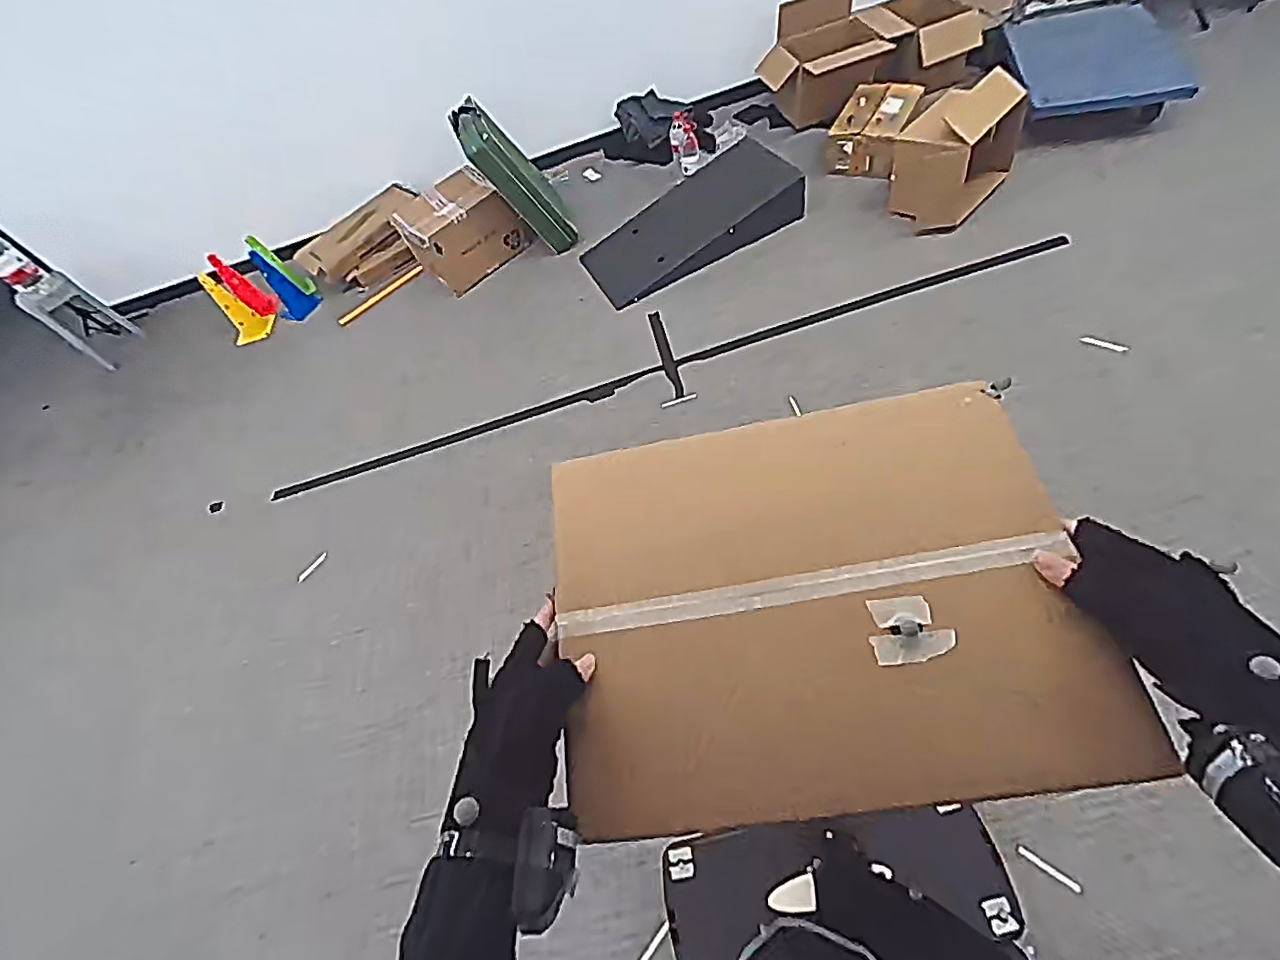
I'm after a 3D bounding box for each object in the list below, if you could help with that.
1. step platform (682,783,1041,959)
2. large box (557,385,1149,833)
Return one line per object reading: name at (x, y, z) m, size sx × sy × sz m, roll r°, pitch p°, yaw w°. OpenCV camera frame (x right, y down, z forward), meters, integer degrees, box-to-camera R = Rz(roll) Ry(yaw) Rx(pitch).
step platform at (0.436, 0.844, 1.153) m, size 0.684 × 0.204 × 0.286 m, roll -17°, pitch 55°, yaw 3°
large box at (0.156, 0.149, 0.578) m, size 0.408 × 0.320 × 0.320 m, roll -11°, pitch 64°, yaw 6°
